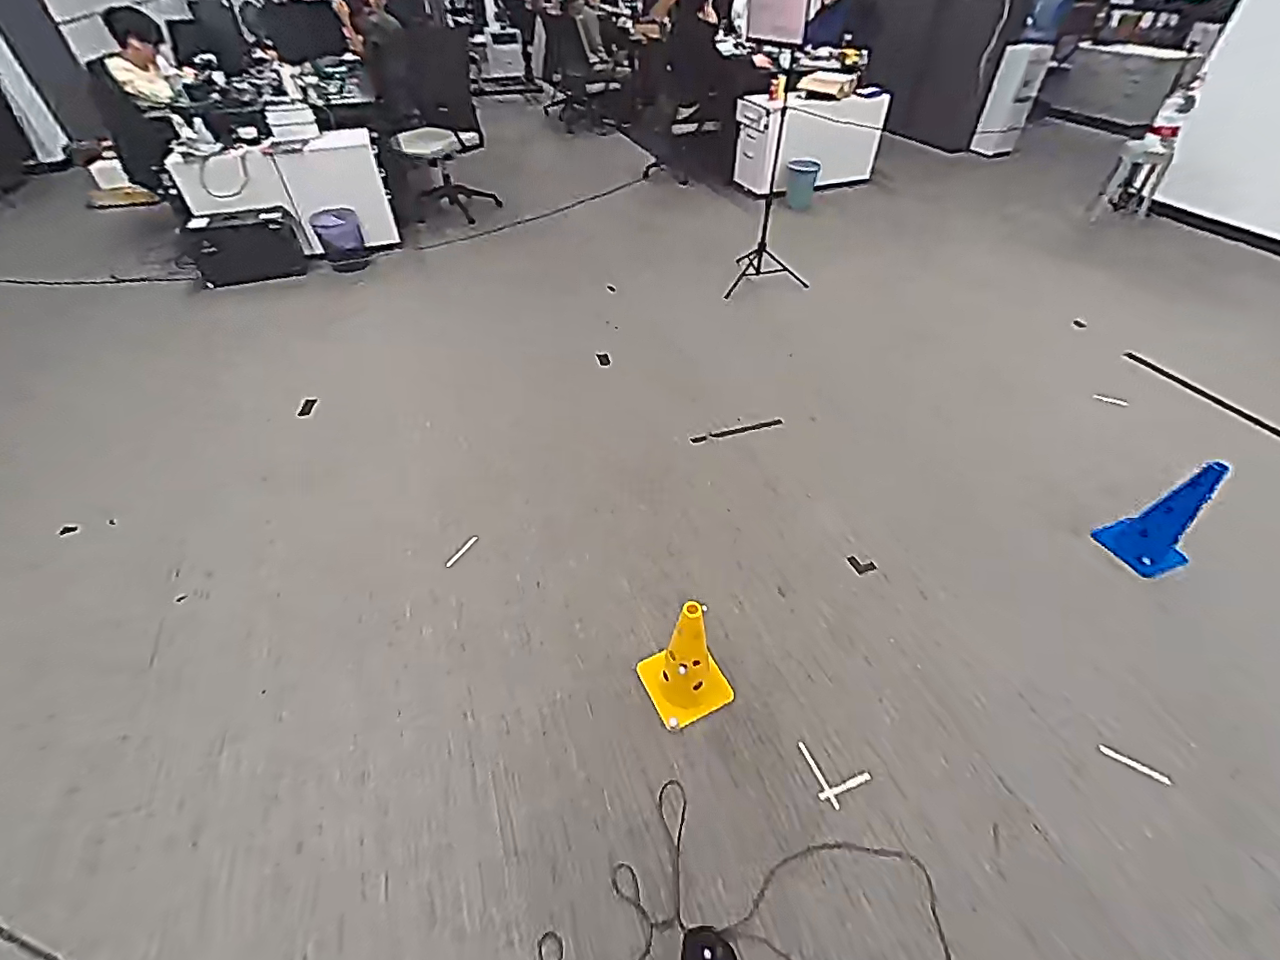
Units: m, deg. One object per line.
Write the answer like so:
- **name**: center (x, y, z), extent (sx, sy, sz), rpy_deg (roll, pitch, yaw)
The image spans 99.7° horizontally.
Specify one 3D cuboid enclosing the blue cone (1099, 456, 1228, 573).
- **blue cone**: center (1.595, 0.088, 1.600), extent (0.193, 0.380, 0.192), rpy_deg (-14, 45, -13)
